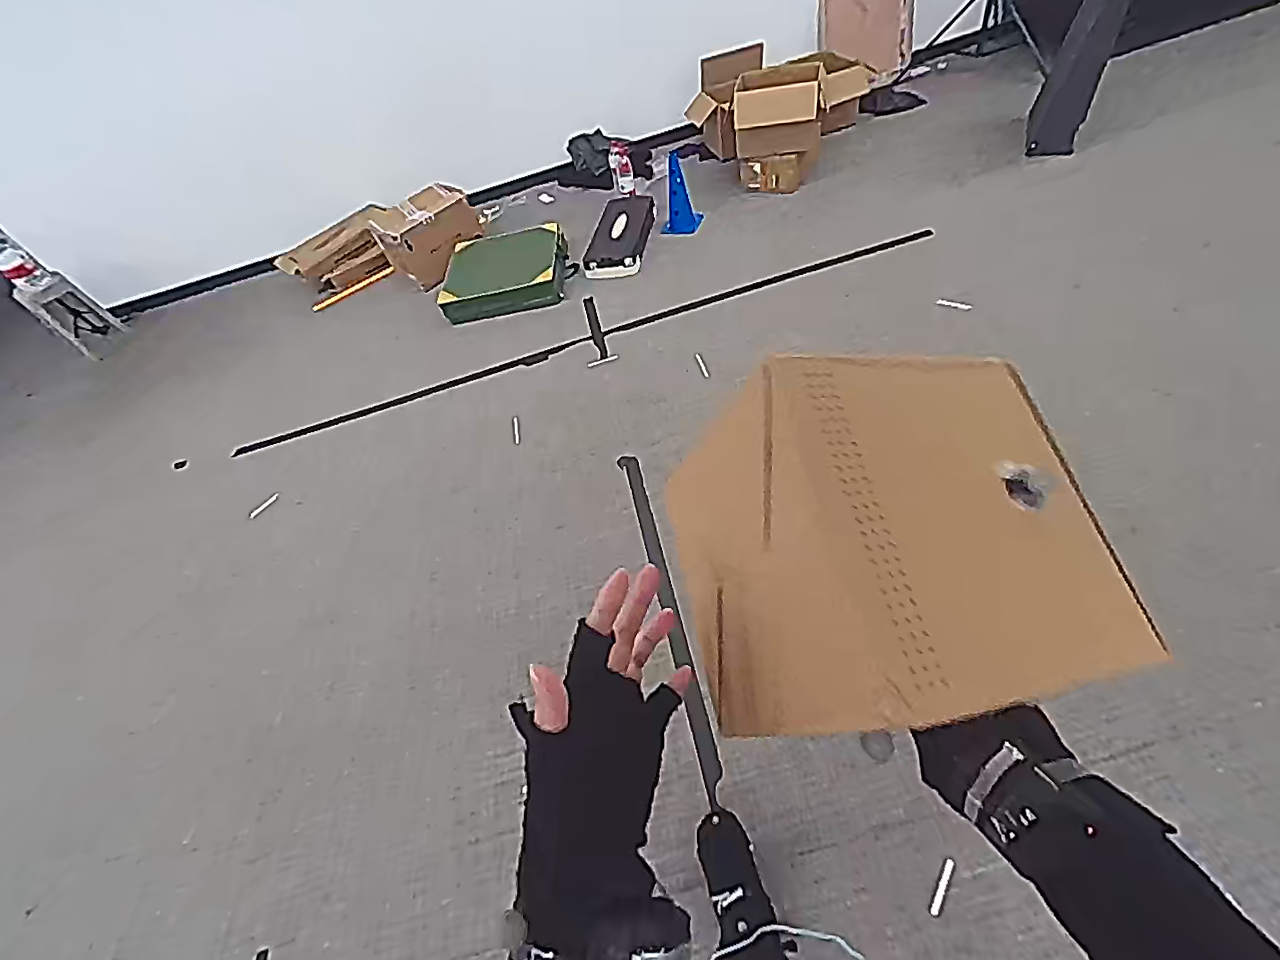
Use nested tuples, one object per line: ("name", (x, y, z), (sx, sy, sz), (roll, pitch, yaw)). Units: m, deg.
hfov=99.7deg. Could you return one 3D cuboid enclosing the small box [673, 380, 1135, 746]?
("small box", (0.131, 0.053, 0.340), (0.176, 0.168, 0.179), (-4, 67, -18))
